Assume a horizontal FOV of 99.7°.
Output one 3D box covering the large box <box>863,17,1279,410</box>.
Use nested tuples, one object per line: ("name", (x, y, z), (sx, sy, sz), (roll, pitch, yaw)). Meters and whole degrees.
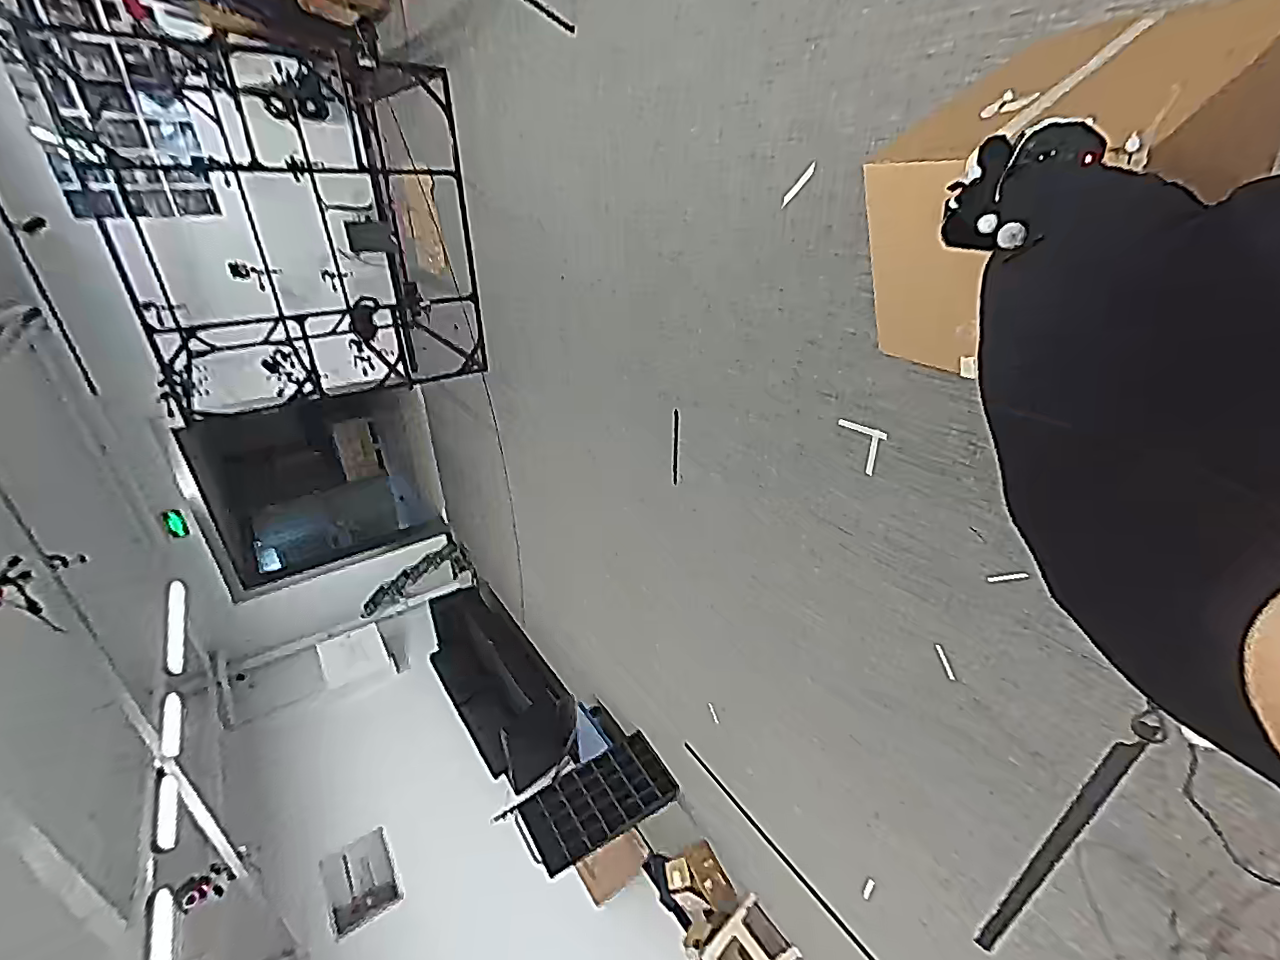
("large box", (0.589, -0.370, 0.776), (0.320, 0.408, 0.320), (35, 159, 48))
